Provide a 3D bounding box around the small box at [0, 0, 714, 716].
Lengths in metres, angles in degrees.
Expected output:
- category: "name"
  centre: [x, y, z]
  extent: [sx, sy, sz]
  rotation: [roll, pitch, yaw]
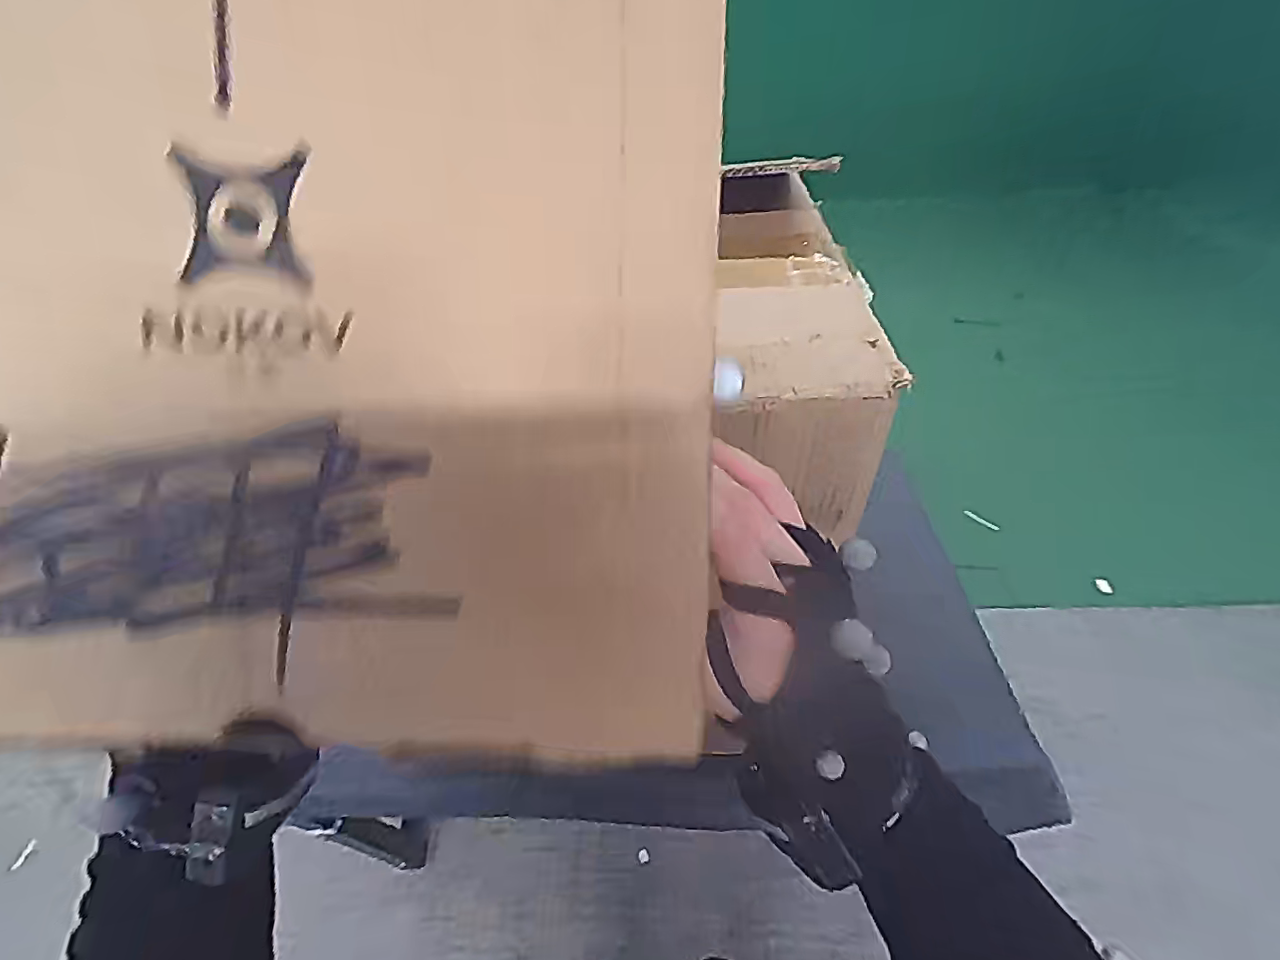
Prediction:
- category: "small box"
  centre: [-0.070, -0.048, 0.180]
  extent: [0.168, 0.179, 0.176]
  rotation: [2, 4, -1]
